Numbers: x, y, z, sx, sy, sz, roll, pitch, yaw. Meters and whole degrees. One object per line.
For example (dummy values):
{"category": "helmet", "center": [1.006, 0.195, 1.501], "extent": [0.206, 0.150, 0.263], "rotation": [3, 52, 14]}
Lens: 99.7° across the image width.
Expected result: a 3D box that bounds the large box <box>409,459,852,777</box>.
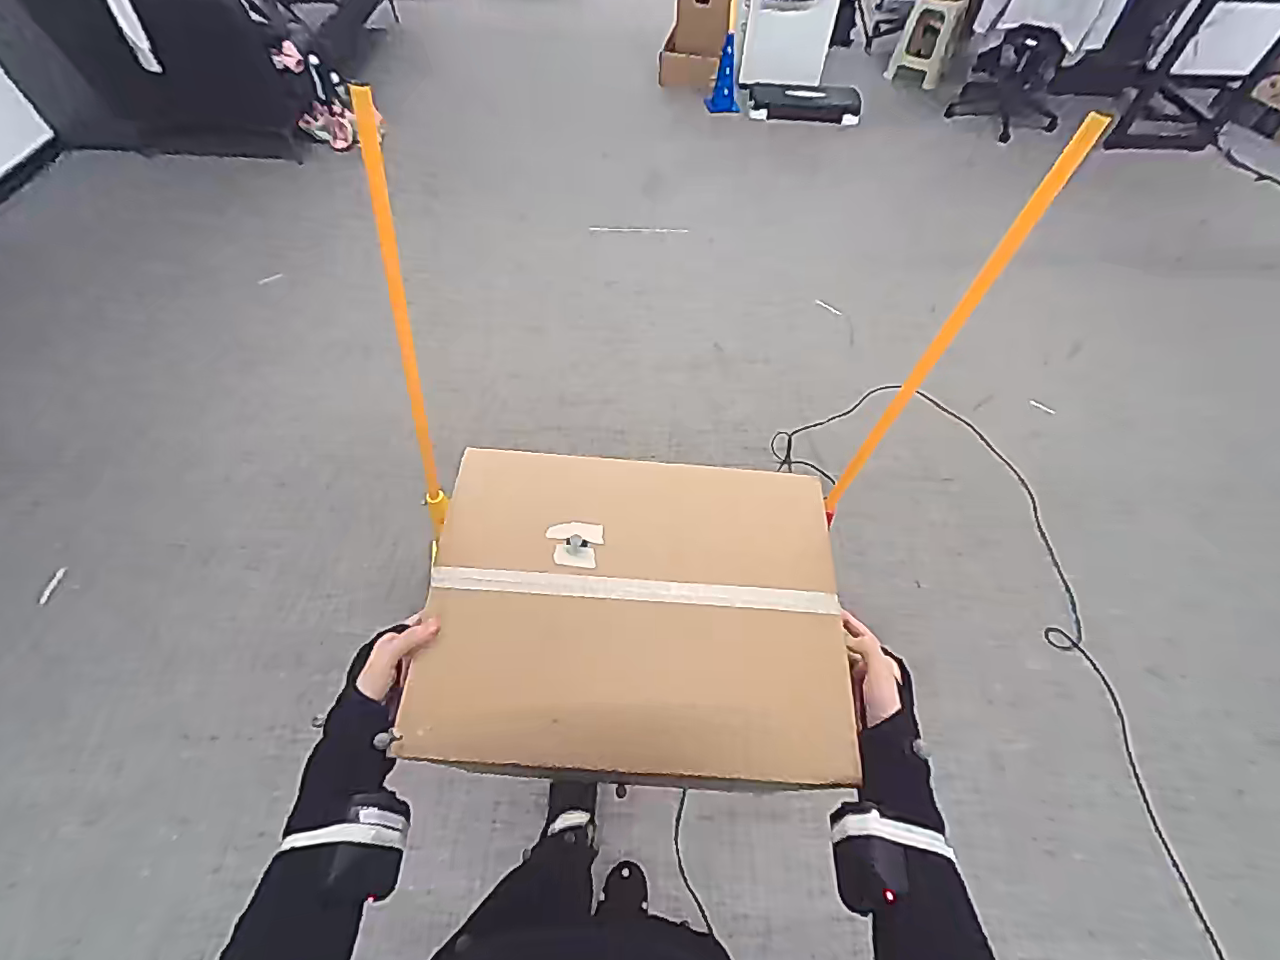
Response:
{"category": "large box", "center": [-0.005, 0.192, 0.682], "extent": [0.408, 0.320, 0.320], "rotation": [4, 59, -1]}
